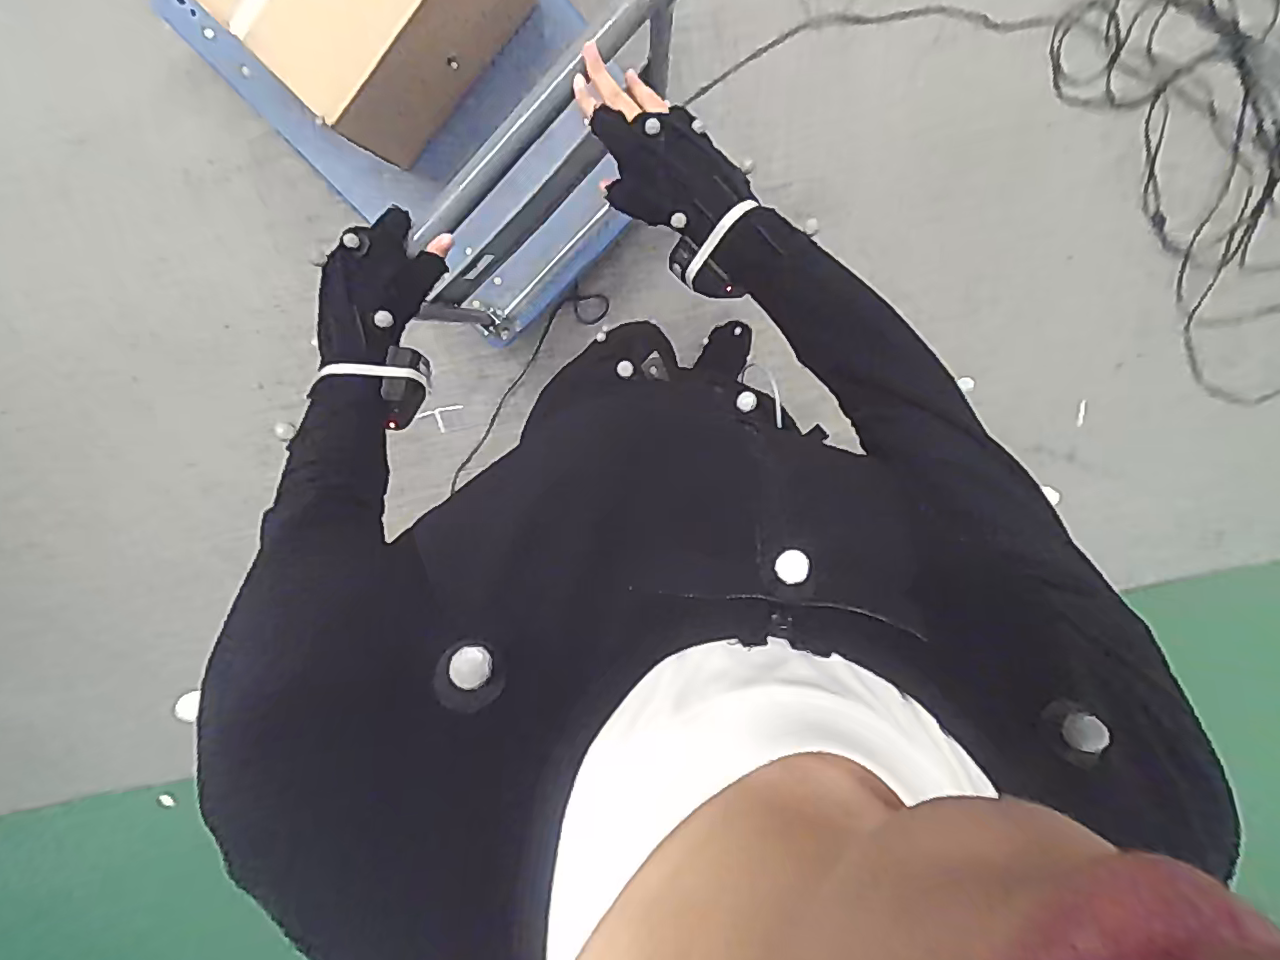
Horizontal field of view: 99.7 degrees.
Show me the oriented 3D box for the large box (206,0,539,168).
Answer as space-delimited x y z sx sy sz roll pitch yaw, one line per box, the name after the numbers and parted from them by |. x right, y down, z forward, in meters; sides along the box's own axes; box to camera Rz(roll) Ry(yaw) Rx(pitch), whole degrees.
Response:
-0.418 -0.811 0.877 0.320 0.320 0.408 42 104 -14 | large box
